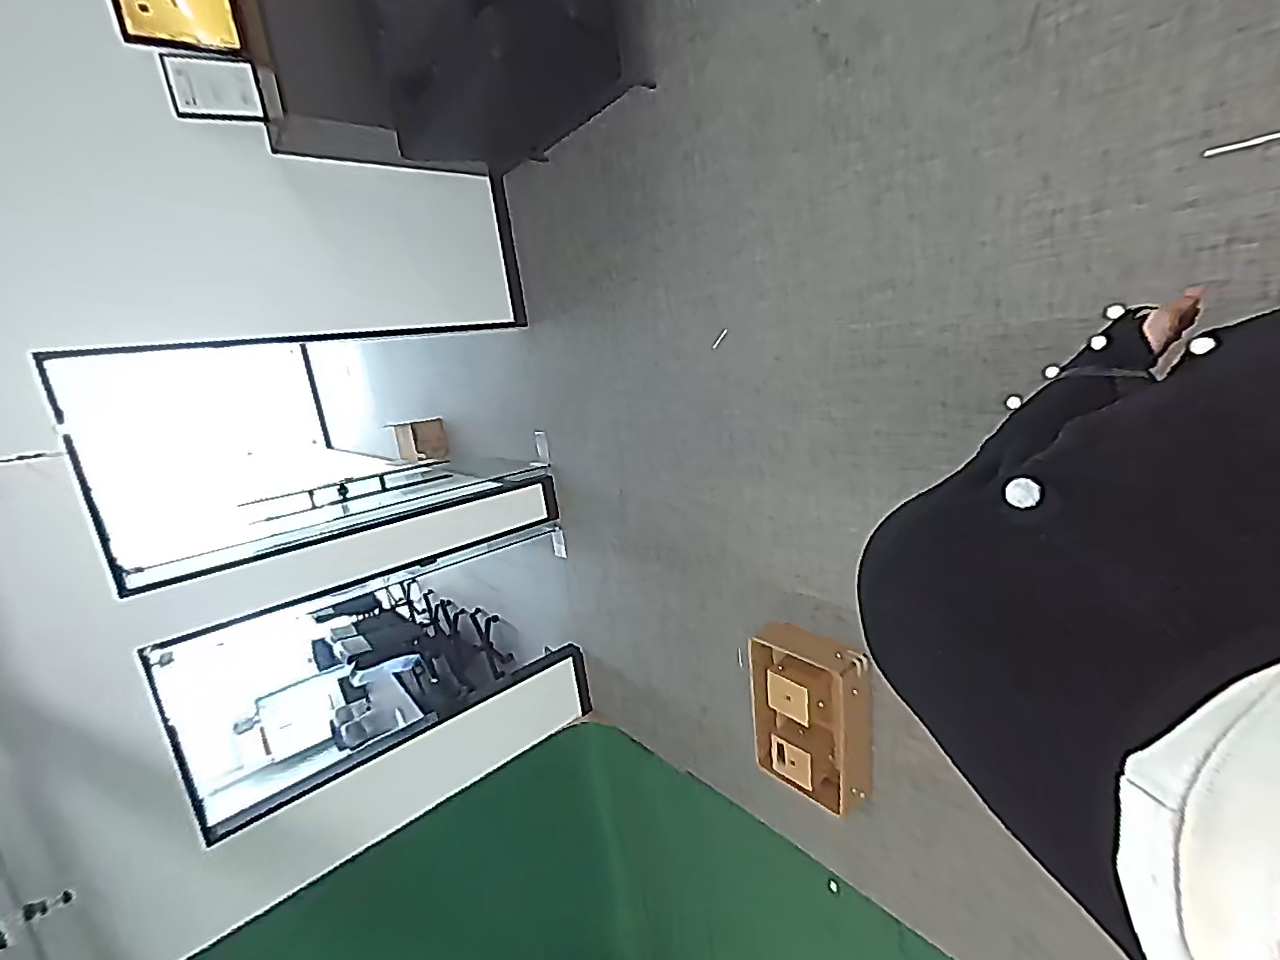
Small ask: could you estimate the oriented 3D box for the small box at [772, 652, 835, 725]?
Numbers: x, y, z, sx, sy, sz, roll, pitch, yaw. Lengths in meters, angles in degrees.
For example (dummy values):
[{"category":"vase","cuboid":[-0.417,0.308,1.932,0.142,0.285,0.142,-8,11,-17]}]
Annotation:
[{"category":"small box","cuboid":[0.625,0.783,2.054,0.179,0.176,0.168,11,113,49]}]
